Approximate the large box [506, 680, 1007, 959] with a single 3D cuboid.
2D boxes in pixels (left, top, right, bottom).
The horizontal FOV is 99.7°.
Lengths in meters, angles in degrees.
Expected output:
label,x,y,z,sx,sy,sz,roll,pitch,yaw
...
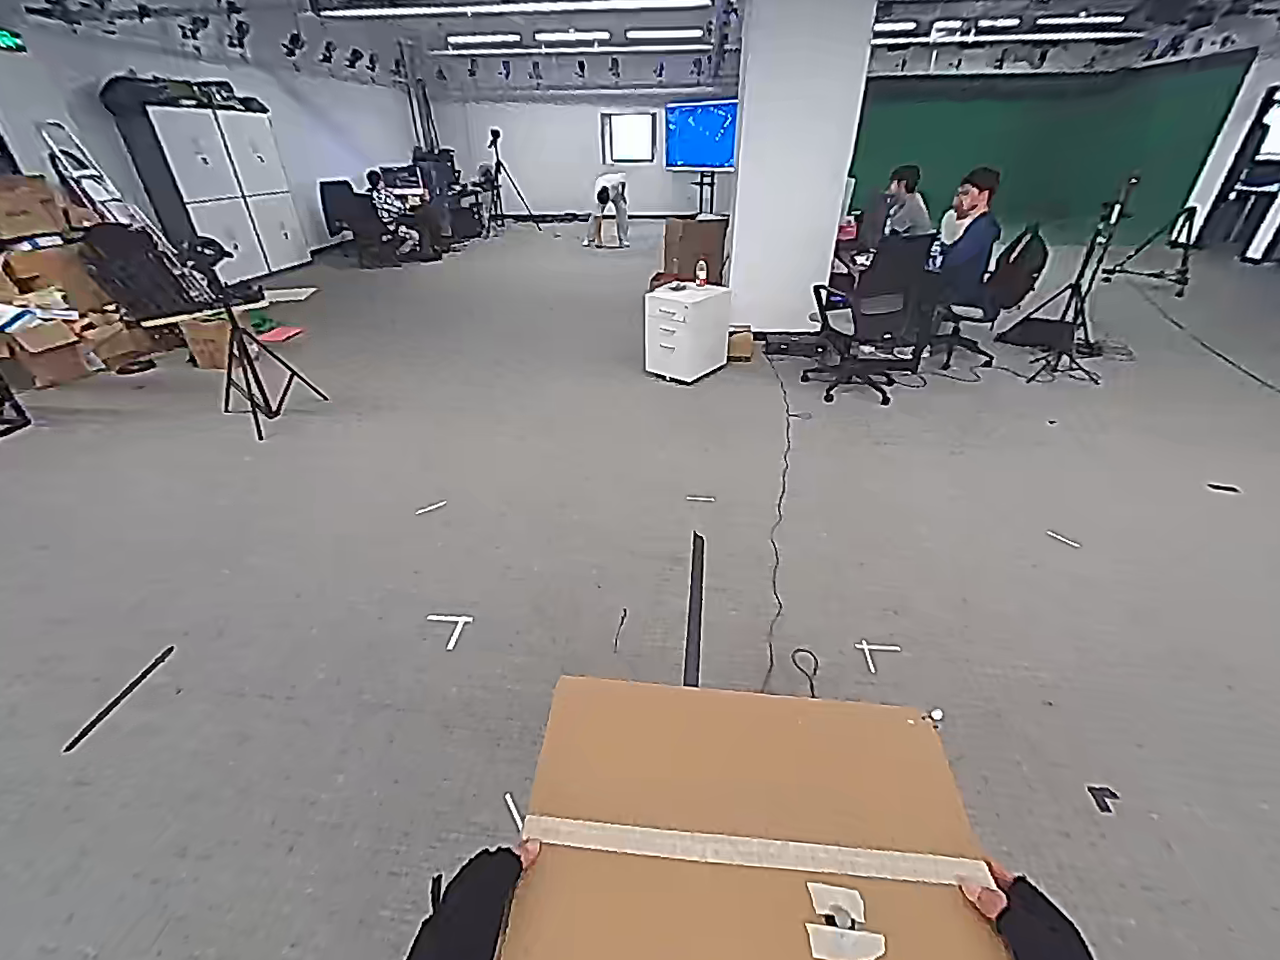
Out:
label,x,y,z,sx,sy,sz,roll,pitch,yaw
large box,0.094,0.451,0.575,0.408,0.320,0.320,4,37,3
